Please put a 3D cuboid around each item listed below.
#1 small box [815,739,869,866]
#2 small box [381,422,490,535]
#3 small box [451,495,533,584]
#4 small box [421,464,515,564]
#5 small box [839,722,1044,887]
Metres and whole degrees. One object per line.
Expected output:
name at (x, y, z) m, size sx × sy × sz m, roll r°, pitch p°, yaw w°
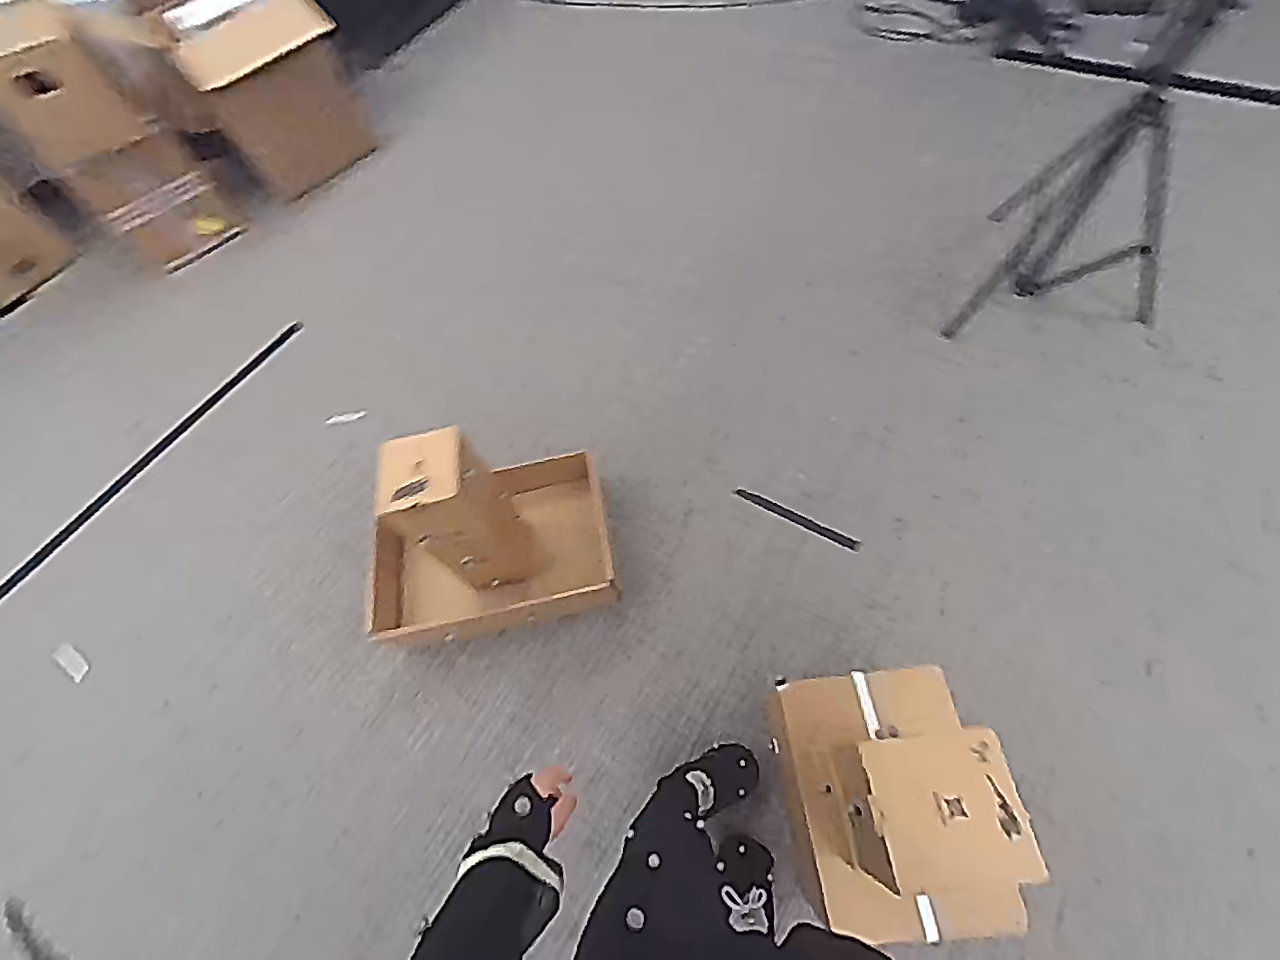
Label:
small box at (0.392, 0.509, 0.876) m, size 0.179 × 0.176 × 0.168 m, roll -8°, pitch 62°, yaw 3°
small box at (-0.431, 0.006, 1.167) m, size 0.168 × 0.176 × 0.179 m, roll -12°, pitch 60°, yaw 2°
small box at (-0.392, 0.163, 1.451) m, size 0.168 × 0.176 × 0.179 m, roll -10°, pitch 62°, yaw 3°
small box at (-0.409, 0.086, 1.309) m, size 0.168 × 0.176 × 0.179 m, roll -11°, pitch 62°, yaw 3°
small box at (0.382, 0.430, 0.731) m, size 0.179 × 0.176 × 0.168 m, roll -8°, pitch 63°, yaw 4°
